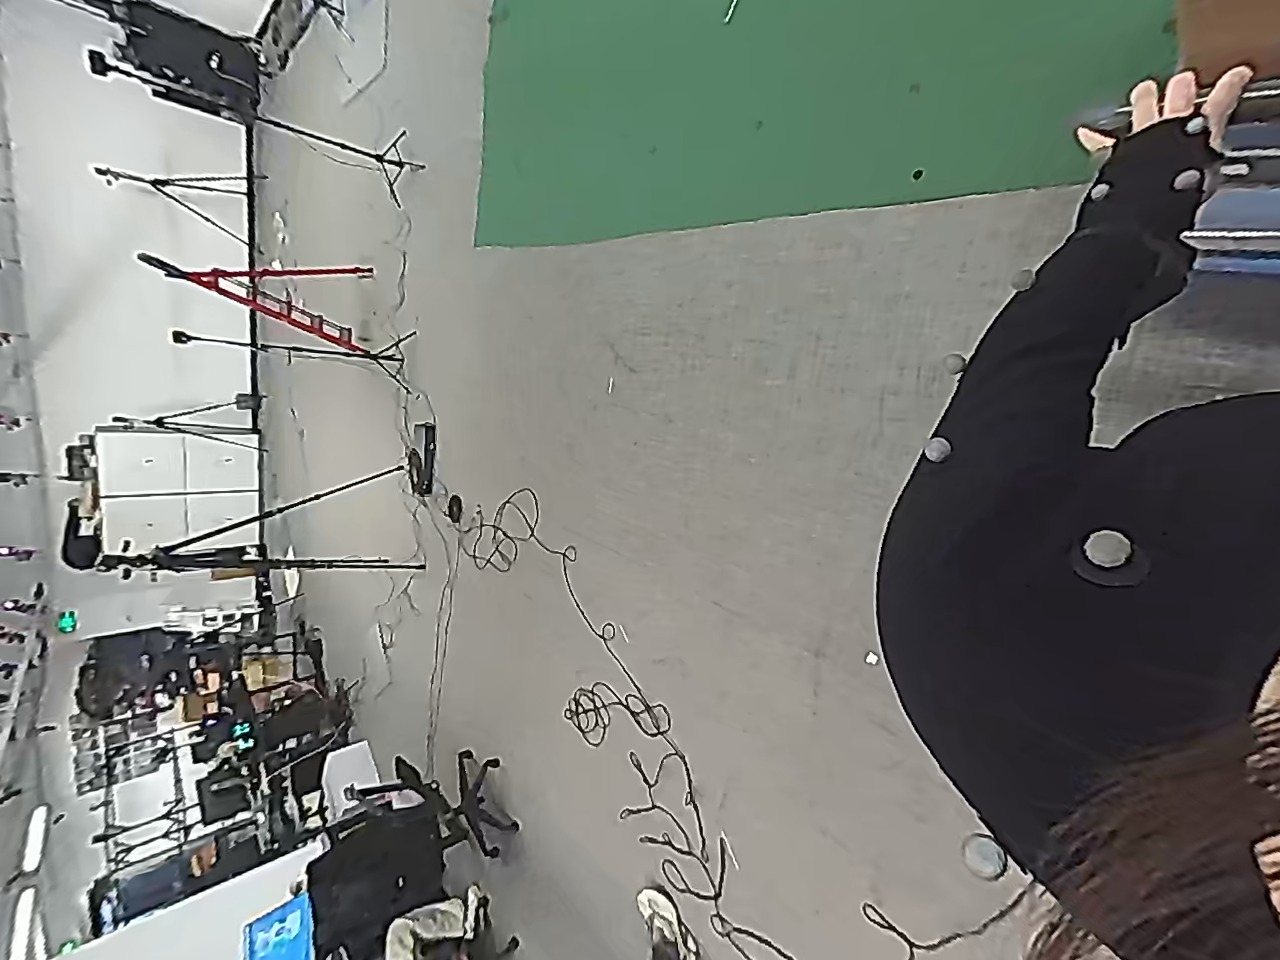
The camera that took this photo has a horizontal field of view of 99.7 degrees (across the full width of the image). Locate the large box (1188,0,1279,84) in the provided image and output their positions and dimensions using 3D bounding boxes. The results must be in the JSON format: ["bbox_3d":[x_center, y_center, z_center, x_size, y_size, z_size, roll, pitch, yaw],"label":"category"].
[{"bbox_3d":[1.019,-0.759,0.674,0.408,0.320,0.320,29,113,41],"label":"large box"}]
